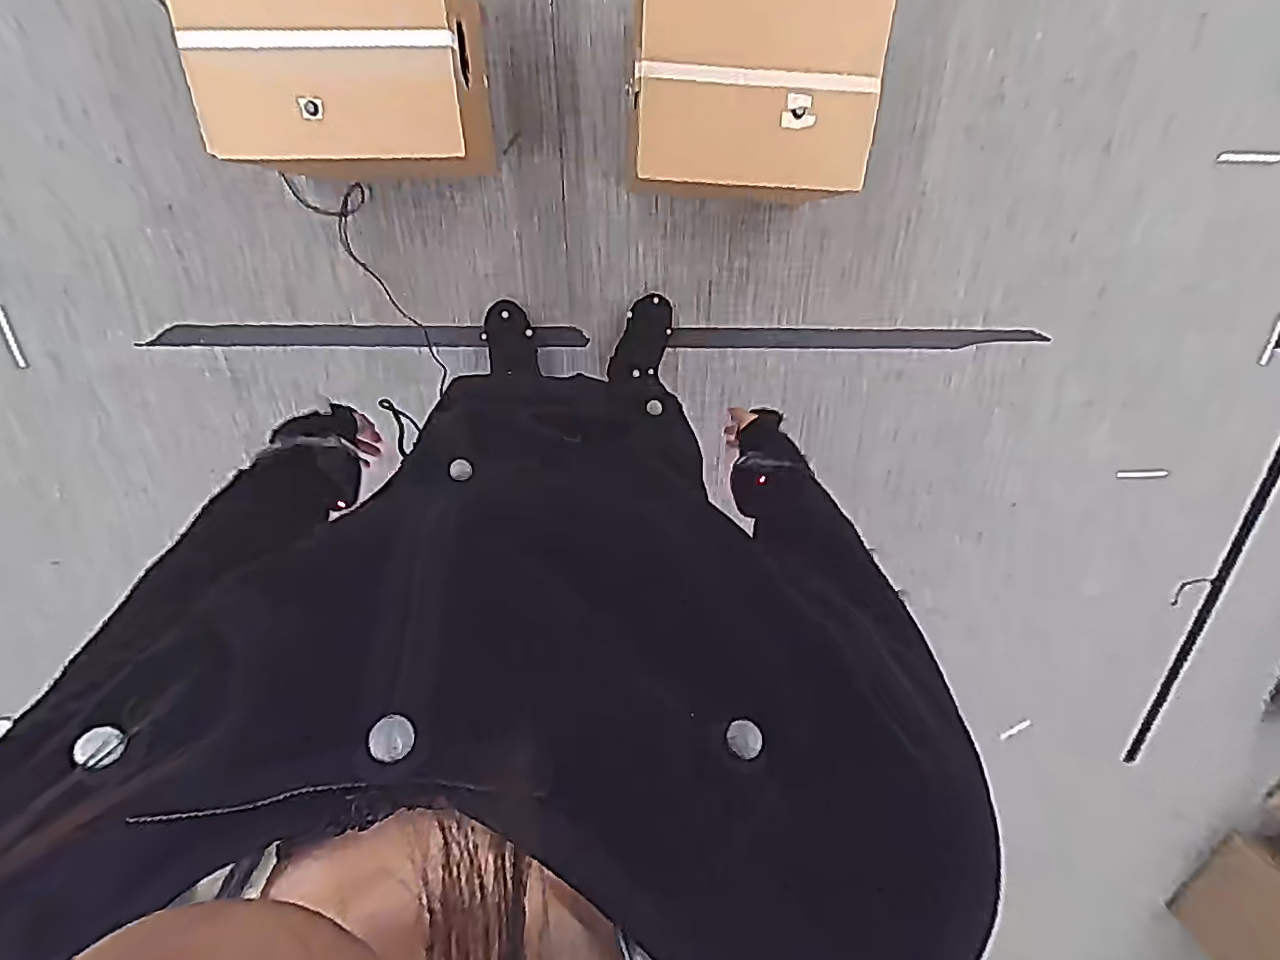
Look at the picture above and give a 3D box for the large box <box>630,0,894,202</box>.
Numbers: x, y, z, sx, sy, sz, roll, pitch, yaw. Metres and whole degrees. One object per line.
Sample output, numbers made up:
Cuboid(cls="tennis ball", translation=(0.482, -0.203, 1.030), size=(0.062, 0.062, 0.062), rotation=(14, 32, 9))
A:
Cuboid(cls="large box", translation=(0.192, -0.723, 1.029), size=(0.408, 0.320, 0.320), rotation=(1, 114, -6))
